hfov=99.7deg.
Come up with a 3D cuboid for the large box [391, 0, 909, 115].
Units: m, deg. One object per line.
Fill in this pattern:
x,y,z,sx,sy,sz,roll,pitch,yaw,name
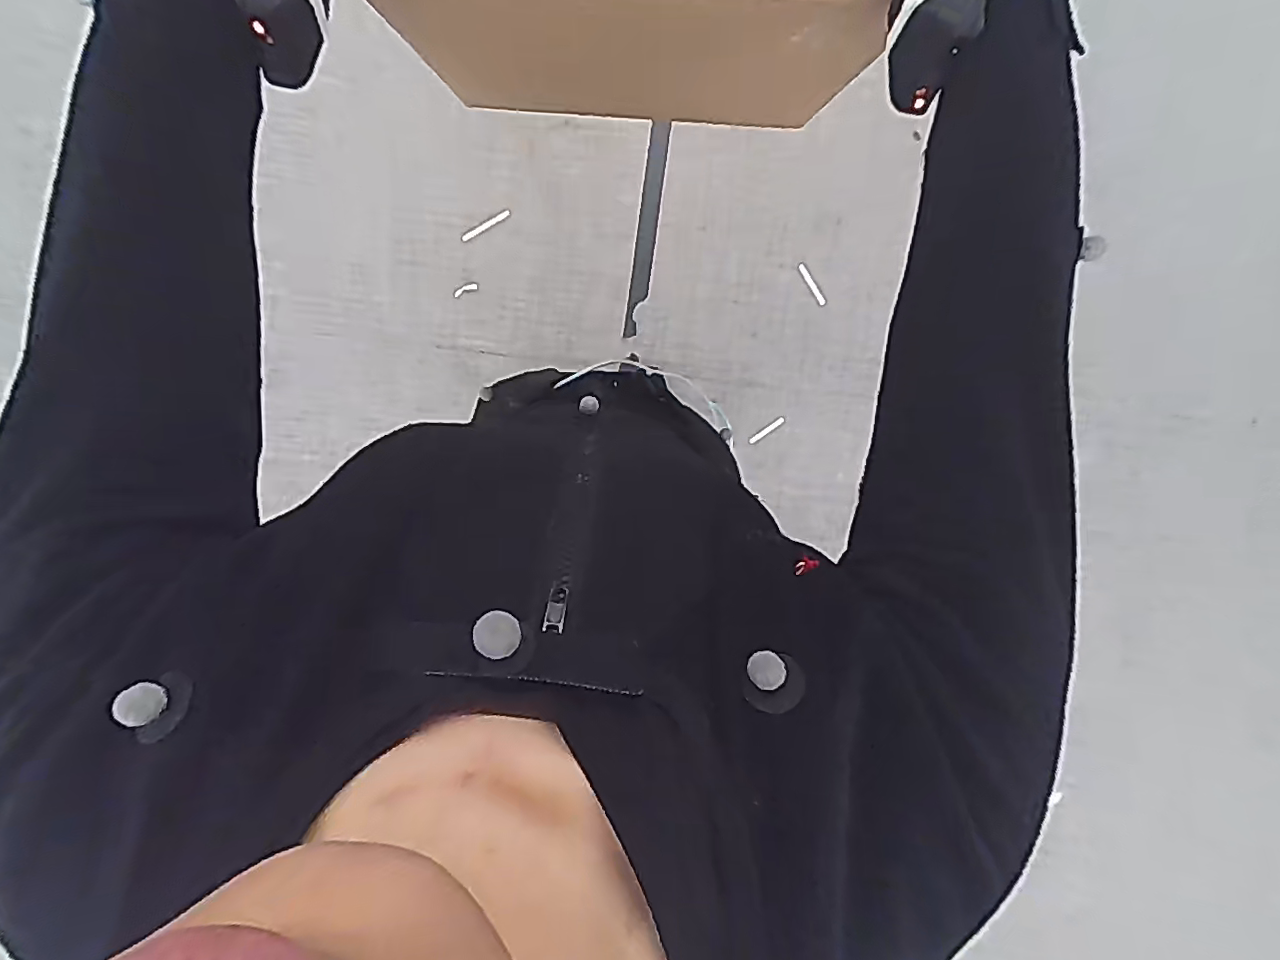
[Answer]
0.003,-0.536,0.457,0.408,0.320,0.320,2,111,-2,large box
